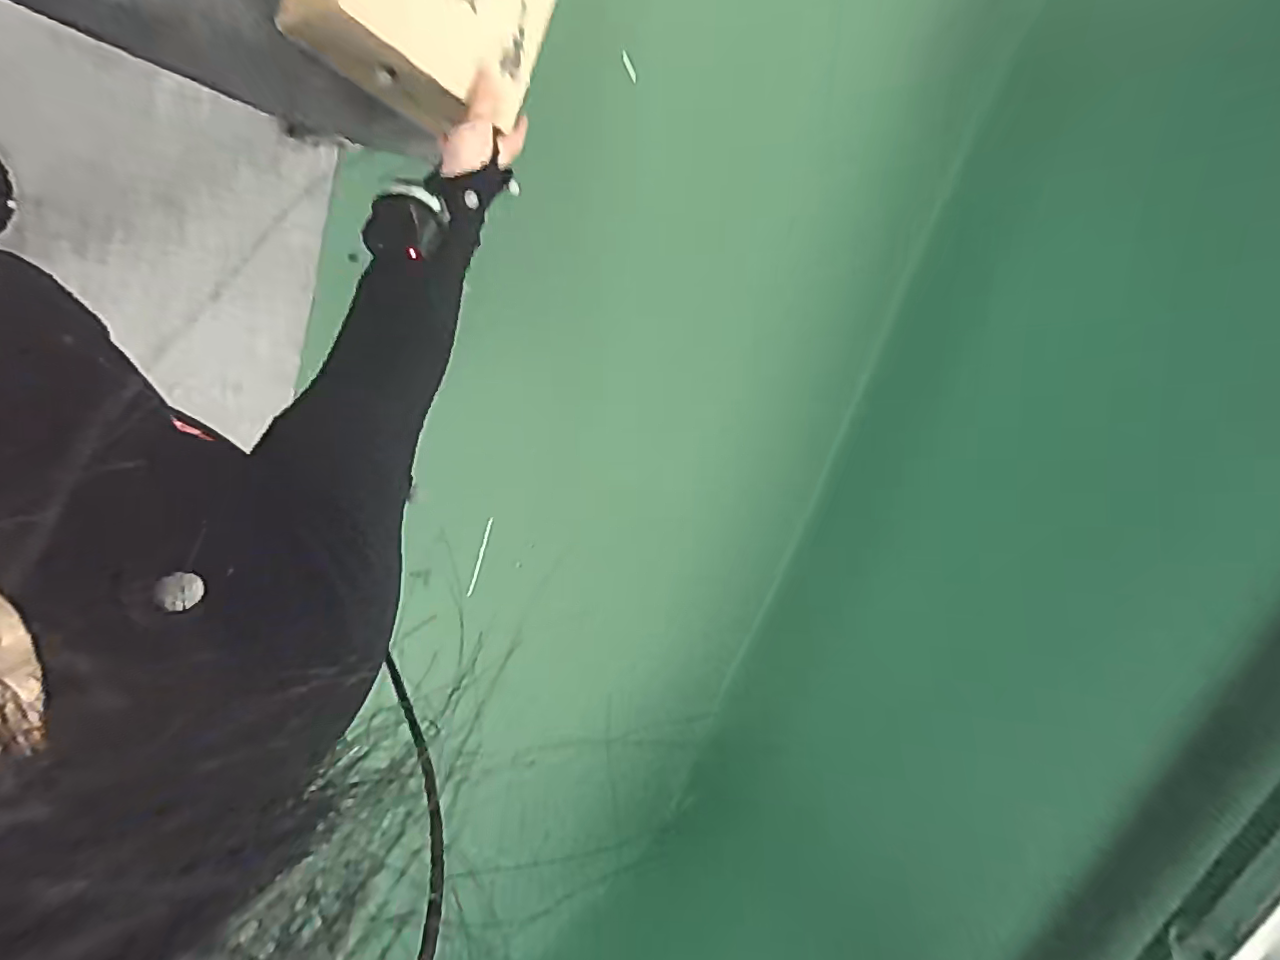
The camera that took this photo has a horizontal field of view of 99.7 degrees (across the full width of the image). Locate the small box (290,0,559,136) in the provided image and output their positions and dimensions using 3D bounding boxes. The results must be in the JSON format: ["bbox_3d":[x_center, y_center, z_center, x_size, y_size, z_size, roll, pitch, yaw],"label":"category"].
[{"bbox_3d":[-0.212,-0.465,0.531,0.179,0.176,0.168,12,103,-50],"label":"small box"}]
